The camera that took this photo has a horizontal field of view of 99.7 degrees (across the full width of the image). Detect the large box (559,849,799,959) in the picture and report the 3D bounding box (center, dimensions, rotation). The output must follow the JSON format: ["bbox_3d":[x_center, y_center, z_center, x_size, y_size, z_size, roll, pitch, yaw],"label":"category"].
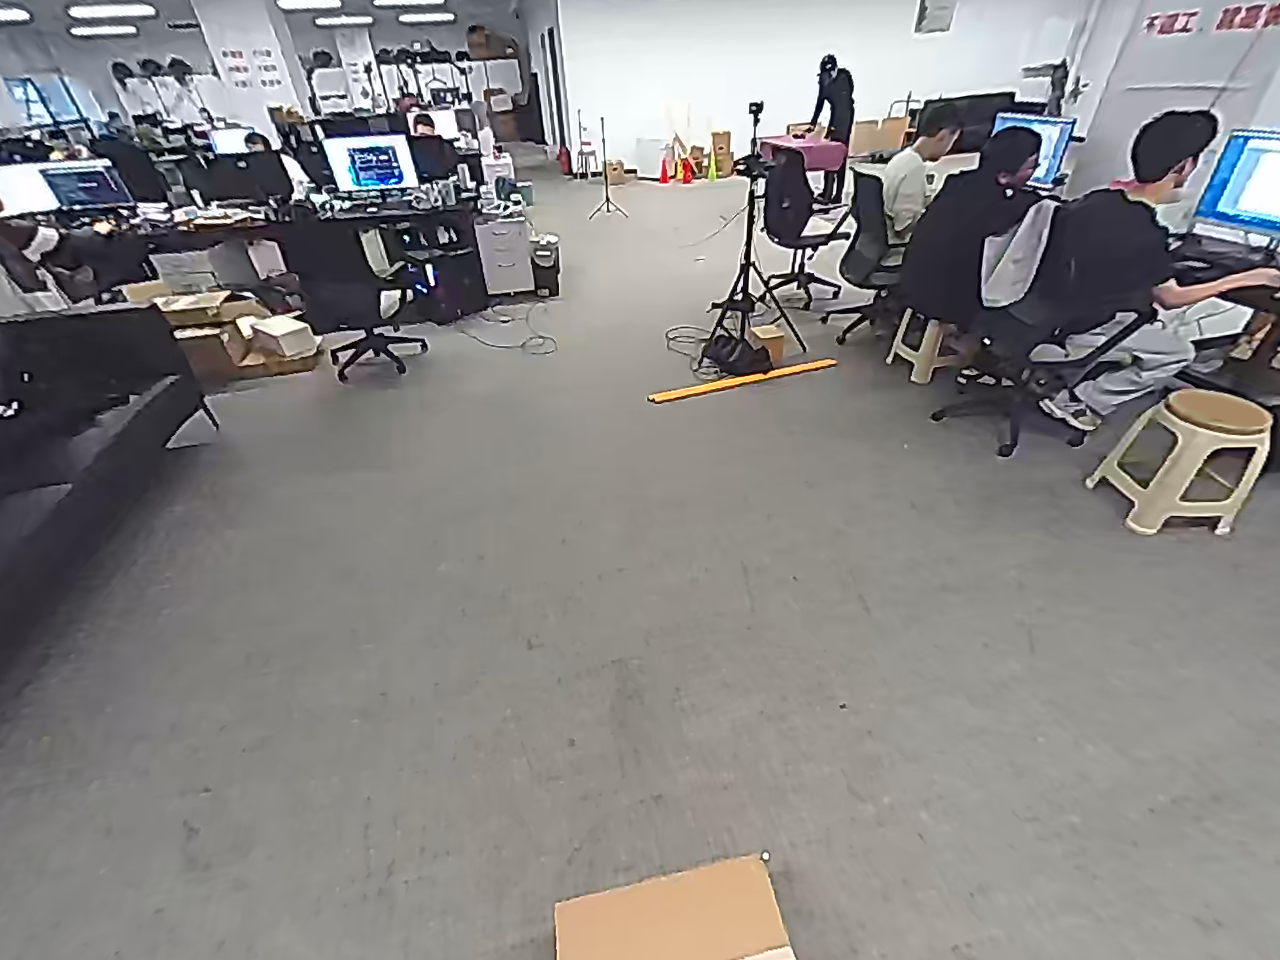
[{"bbox_3d":[0.079,0.958,0.994,0.408,0.320,0.320,-9,37,-7],"label":"large box"}]
